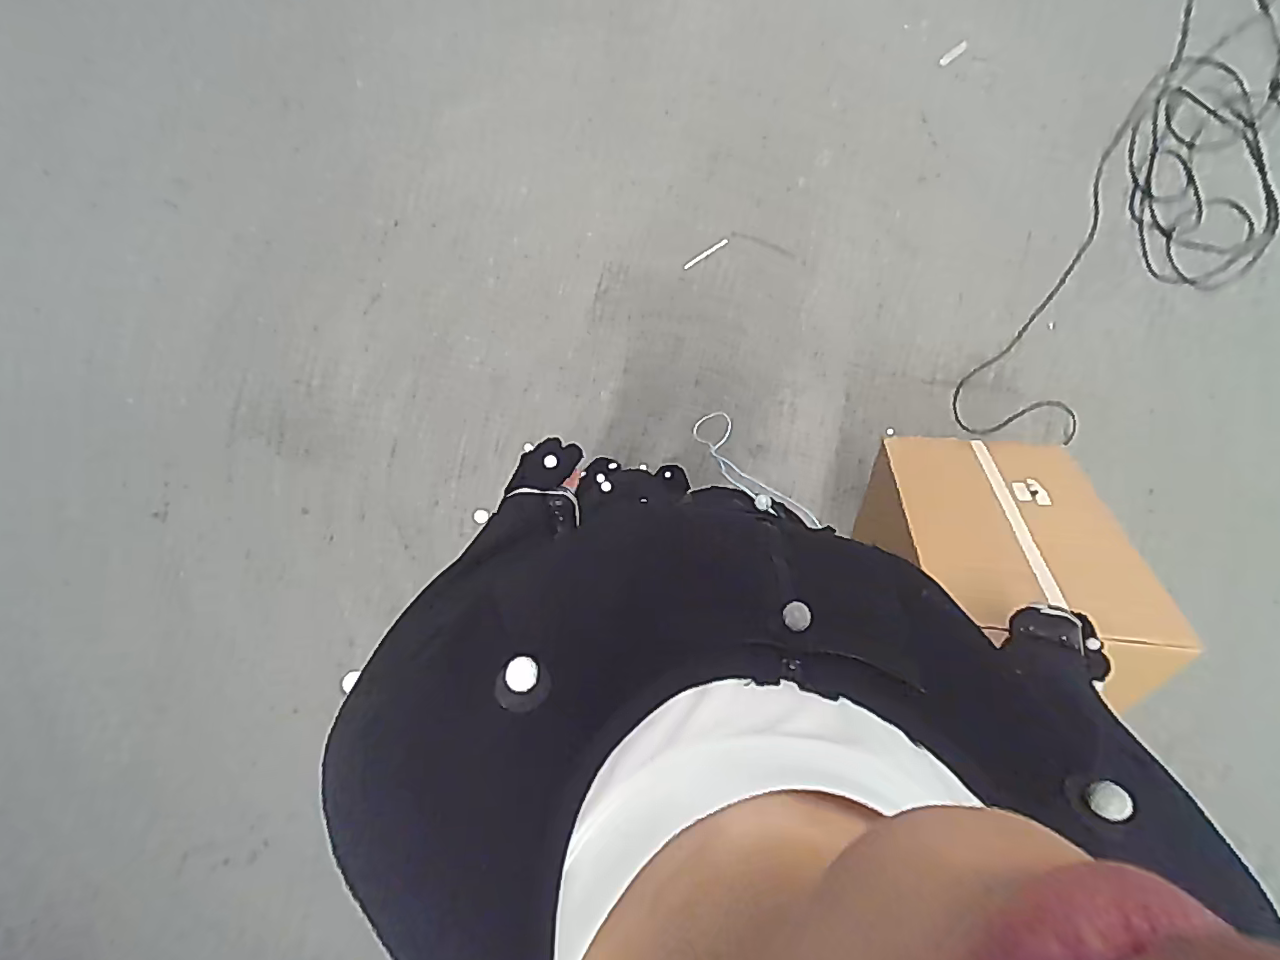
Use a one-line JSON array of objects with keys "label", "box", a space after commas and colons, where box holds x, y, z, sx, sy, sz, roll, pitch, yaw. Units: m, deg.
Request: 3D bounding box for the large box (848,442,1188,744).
[{"label": "large box", "box": [0.576, 0.183, 0.941, 0.320, 0.408, 0.320, 6, 132, 7]}]
